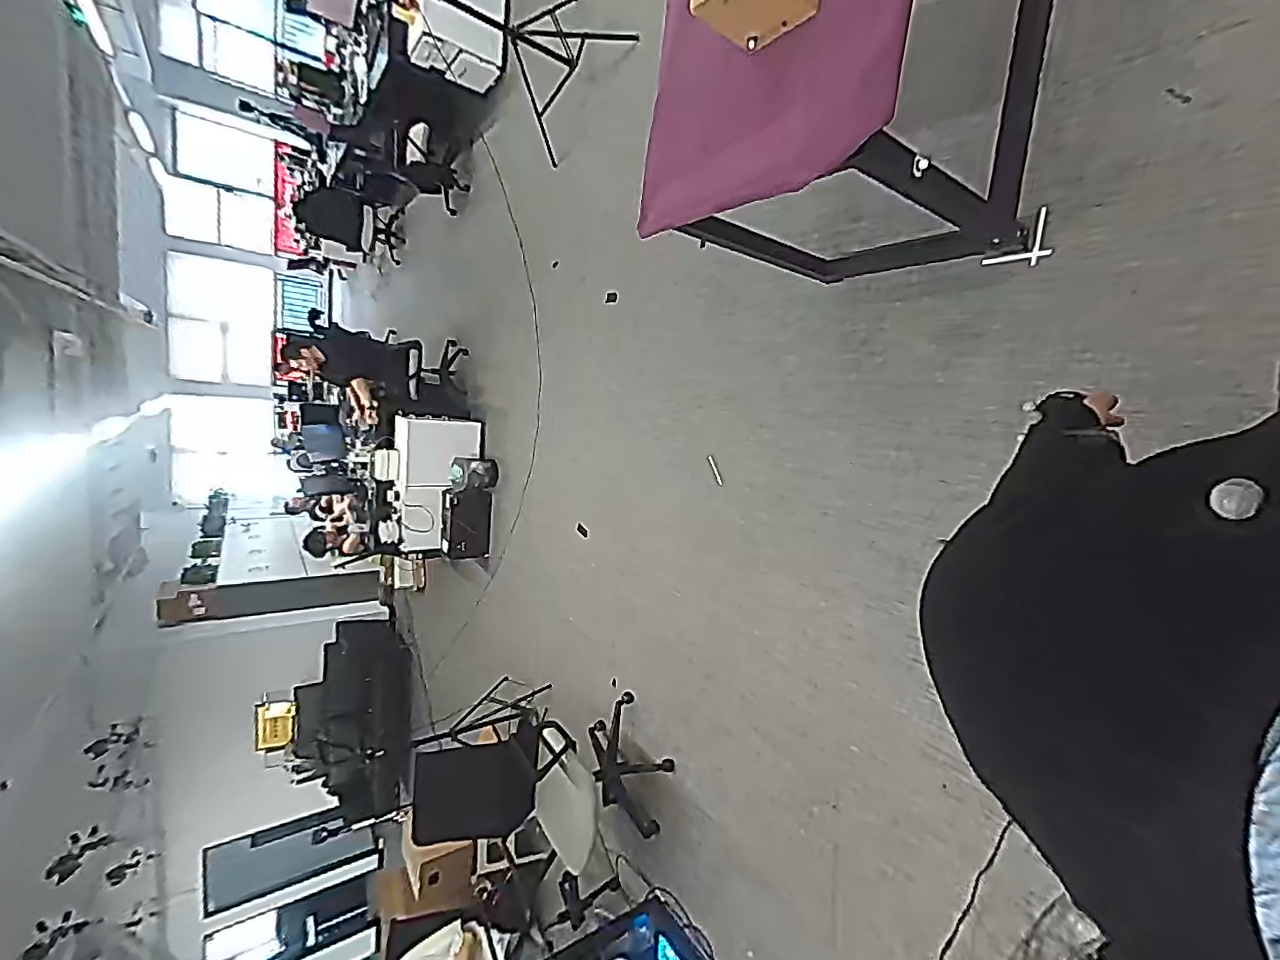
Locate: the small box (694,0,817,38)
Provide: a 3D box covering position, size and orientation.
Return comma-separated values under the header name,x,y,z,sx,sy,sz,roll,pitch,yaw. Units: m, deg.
name,x,y,z,sx,sy,sz,roll,pitch,yaw
small box,0.220,-0.944,0.969,0.168,0.176,0.179,17,103,53
